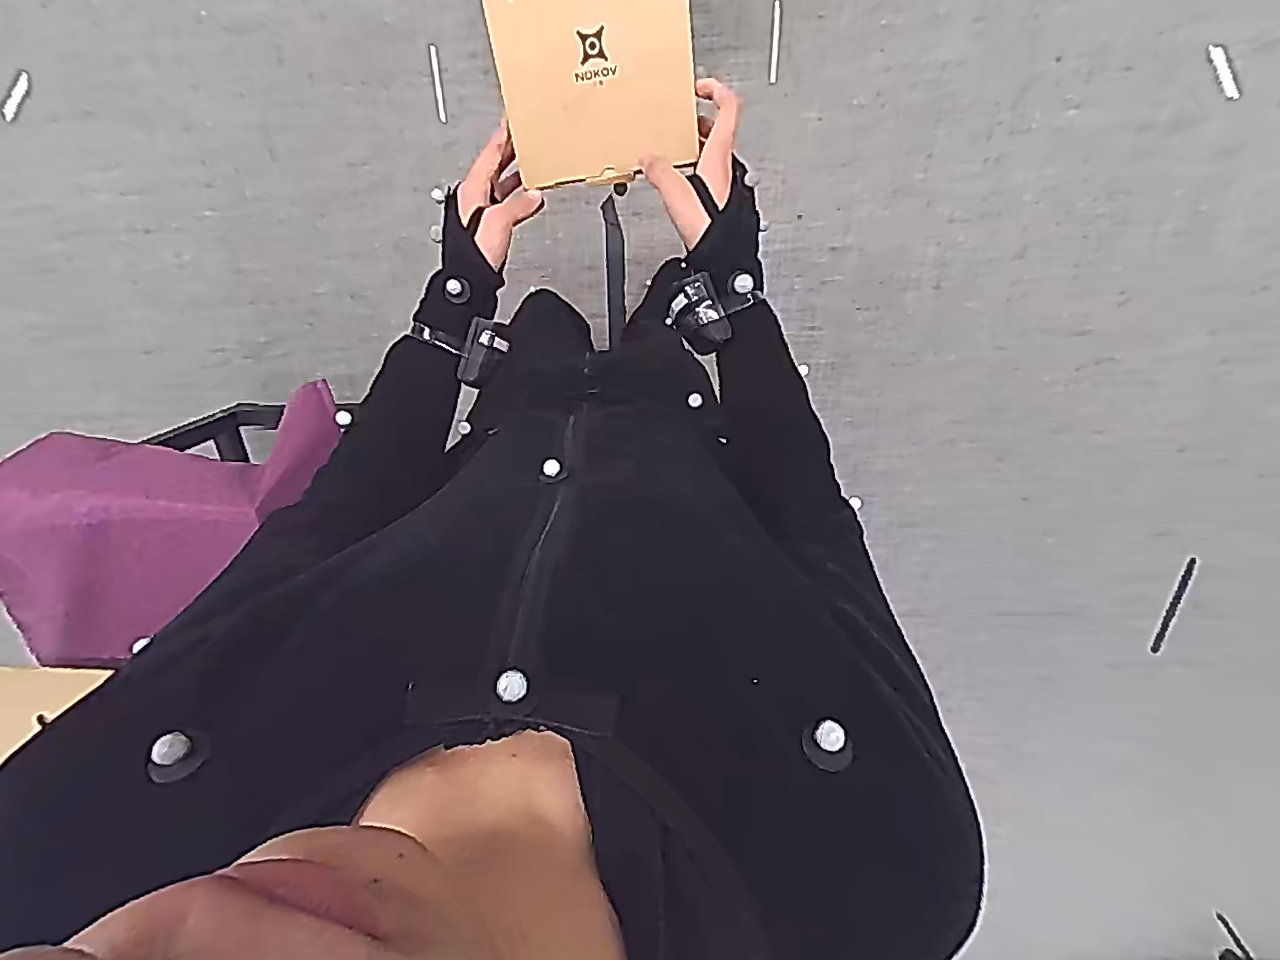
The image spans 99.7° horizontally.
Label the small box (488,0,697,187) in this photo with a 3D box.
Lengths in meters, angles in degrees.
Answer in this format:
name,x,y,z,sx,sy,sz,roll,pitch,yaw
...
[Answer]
name,x,y,z,sx,sy,sz,roll,pitch,yaw
small box,-0.031,-0.395,0.521,0.168,0.176,0.179,-5,120,7
